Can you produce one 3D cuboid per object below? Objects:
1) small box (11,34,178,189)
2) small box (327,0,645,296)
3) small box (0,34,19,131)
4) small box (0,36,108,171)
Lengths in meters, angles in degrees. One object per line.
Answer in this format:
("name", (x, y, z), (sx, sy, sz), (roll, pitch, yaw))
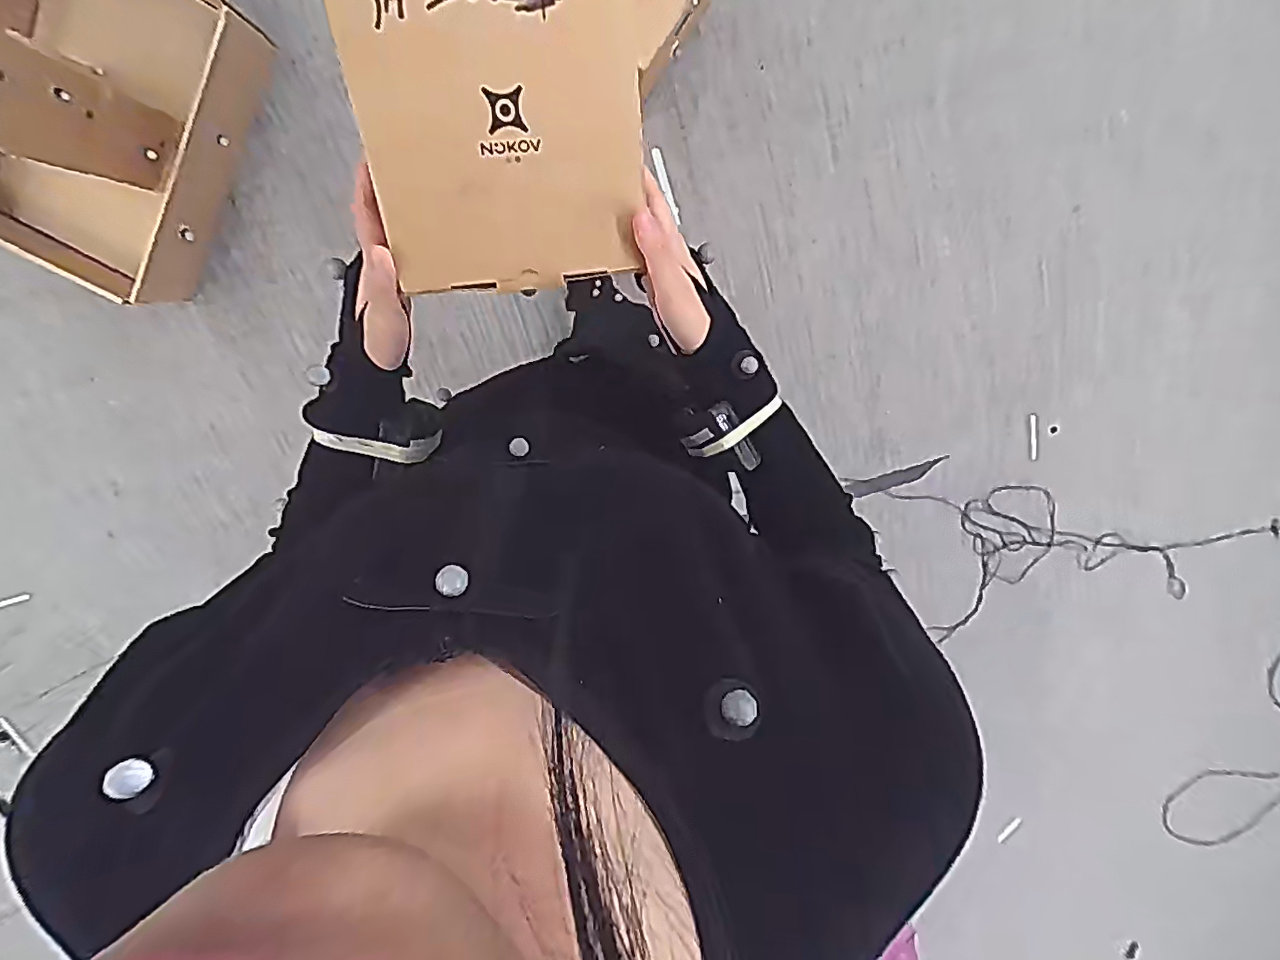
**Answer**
("small box", (-1.076, -0.702, 1.060), (0.179, 0.176, 0.168), (28, 103, -14))
("small box", (-0.097, -0.243, 0.395), (0.168, 0.176, 0.179), (-10, 117, -9))
("small box", (-1.044, -0.603, 0.749), (0.179, 0.176, 0.168), (23, 102, -13))
("small box", (-1.064, -0.649, 0.907), (0.179, 0.176, 0.168), (24, 103, -12))
